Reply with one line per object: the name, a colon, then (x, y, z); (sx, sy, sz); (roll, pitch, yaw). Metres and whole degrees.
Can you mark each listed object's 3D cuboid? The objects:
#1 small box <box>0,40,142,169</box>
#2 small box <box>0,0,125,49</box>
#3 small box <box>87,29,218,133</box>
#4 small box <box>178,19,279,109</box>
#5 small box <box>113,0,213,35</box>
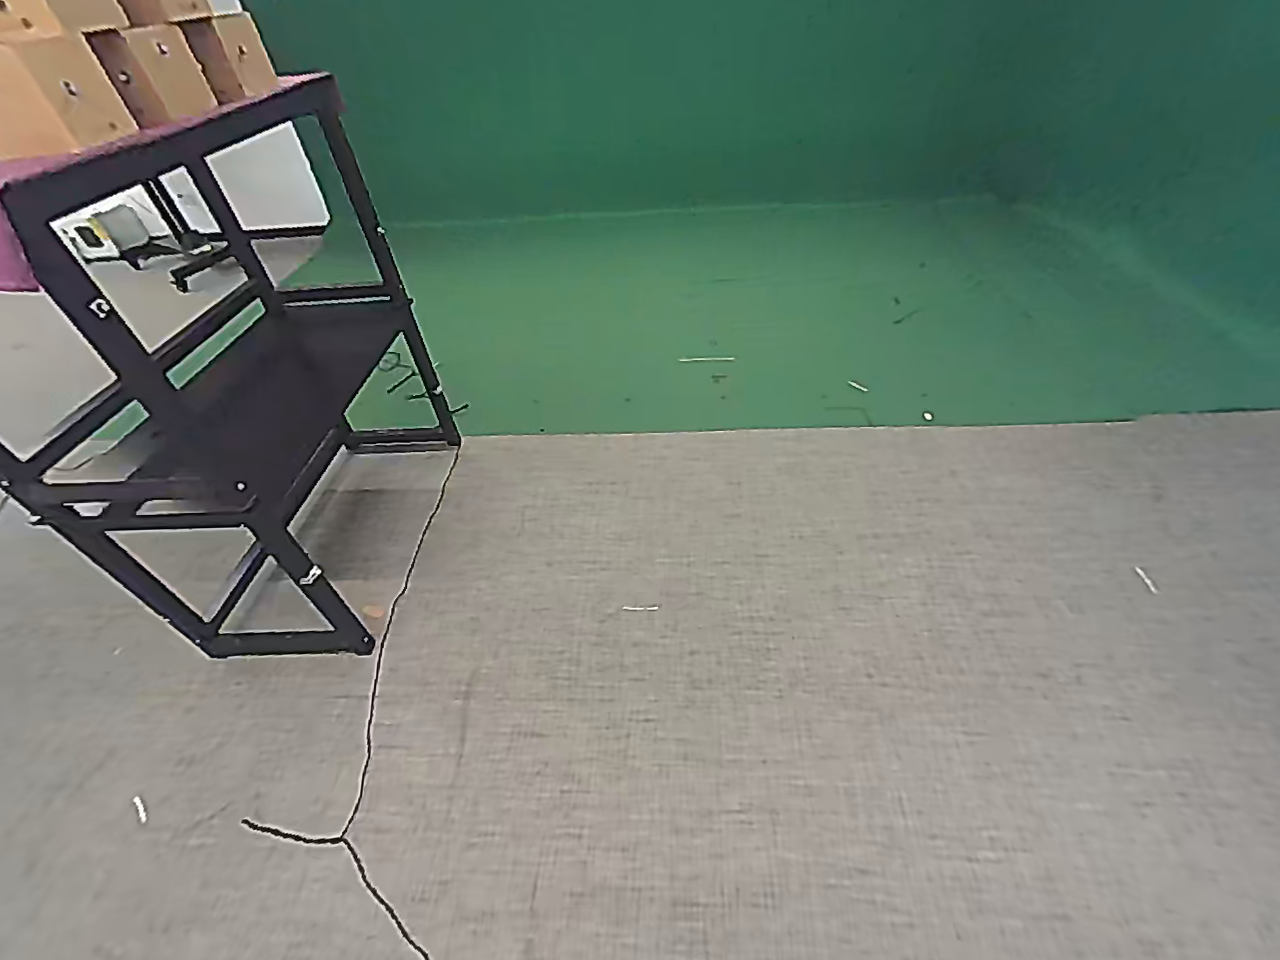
small box: (-1.123, -0.709, 1.024); (0.179, 0.176, 0.168); (-4, 43, 4)
small box: (-1.142, -0.927, 1.017); (0.168, 0.176, 0.179); (-3, 44, 3)
small box: (-1.119, -0.897, 1.224); (0.168, 0.176, 0.179); (-2, 43, 5)
small box: (-1.107, -1.098, 1.435); (0.168, 0.176, 0.179); (-2, 45, 3)
small box: (-1.126, -1.115, 1.215); (0.179, 0.176, 0.168); (-3, 44, 4)
